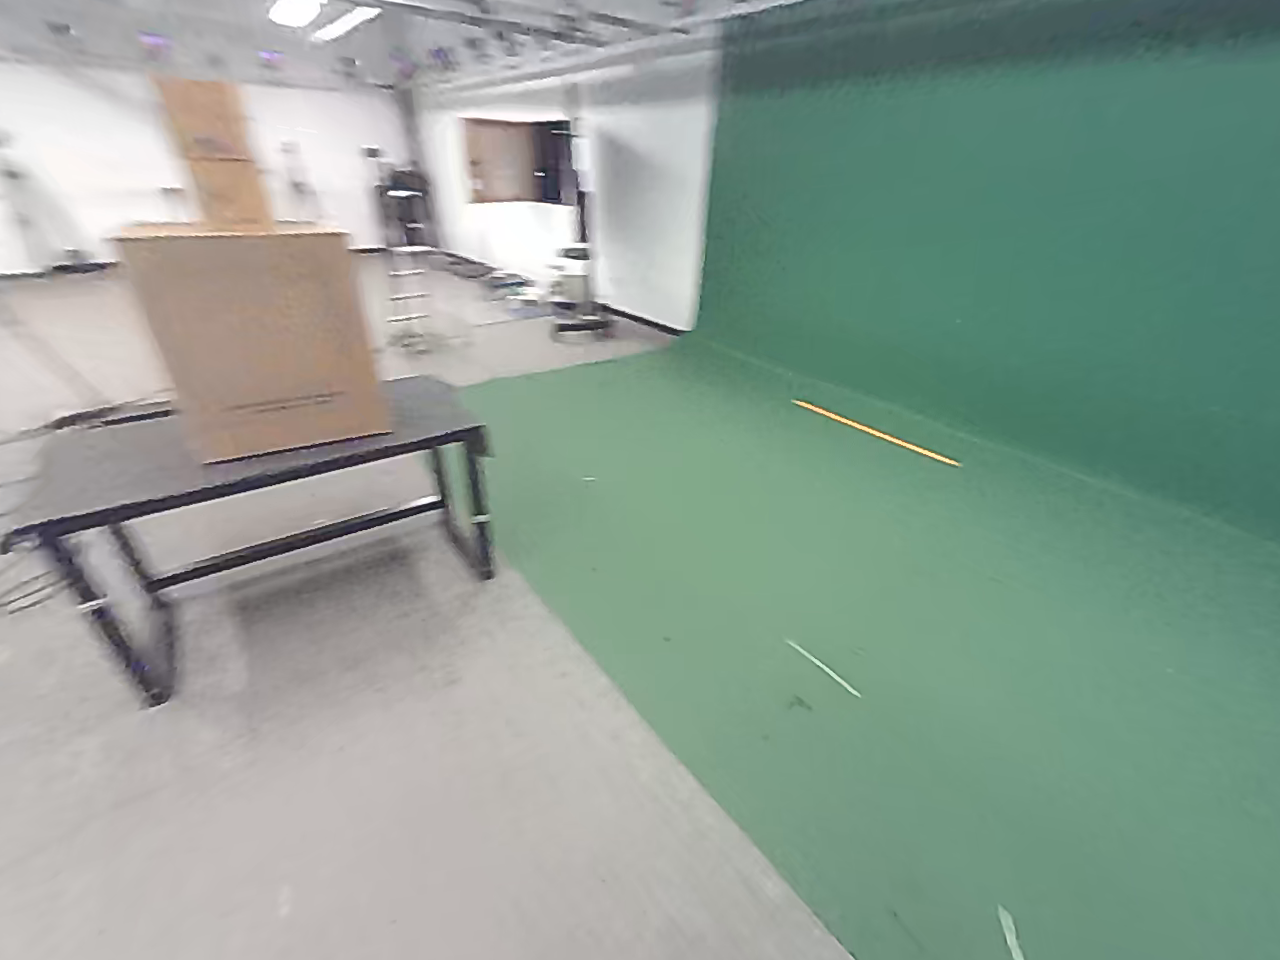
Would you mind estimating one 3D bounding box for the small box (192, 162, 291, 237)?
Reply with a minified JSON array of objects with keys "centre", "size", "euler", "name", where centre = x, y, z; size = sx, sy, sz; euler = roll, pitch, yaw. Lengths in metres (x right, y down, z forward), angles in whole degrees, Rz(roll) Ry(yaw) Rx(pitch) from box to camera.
[{"centre":[-1.068,-0.760,1.465],"size":[0.168,0.176,0.179],"euler":[-12,34,-23],"name":"small box"}]
